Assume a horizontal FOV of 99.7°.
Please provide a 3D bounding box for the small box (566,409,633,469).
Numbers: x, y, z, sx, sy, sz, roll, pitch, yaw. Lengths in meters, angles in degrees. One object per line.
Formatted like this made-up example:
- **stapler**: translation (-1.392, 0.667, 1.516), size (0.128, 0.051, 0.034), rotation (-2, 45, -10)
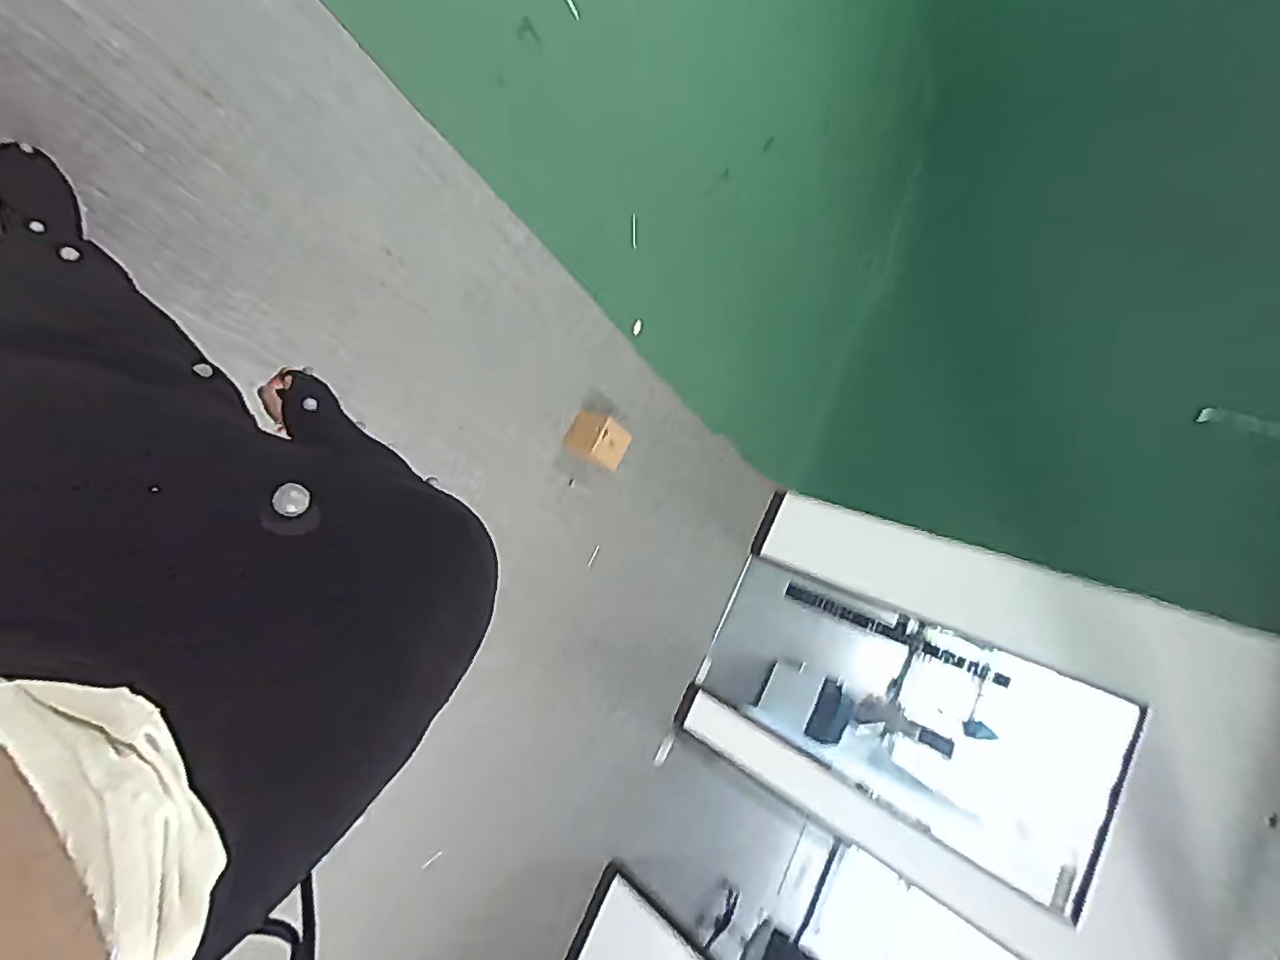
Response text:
- **small box**: translation (-0.165, -0.169, 2.193), size (0.179, 0.176, 0.168), rotation (38, 76, -50)
